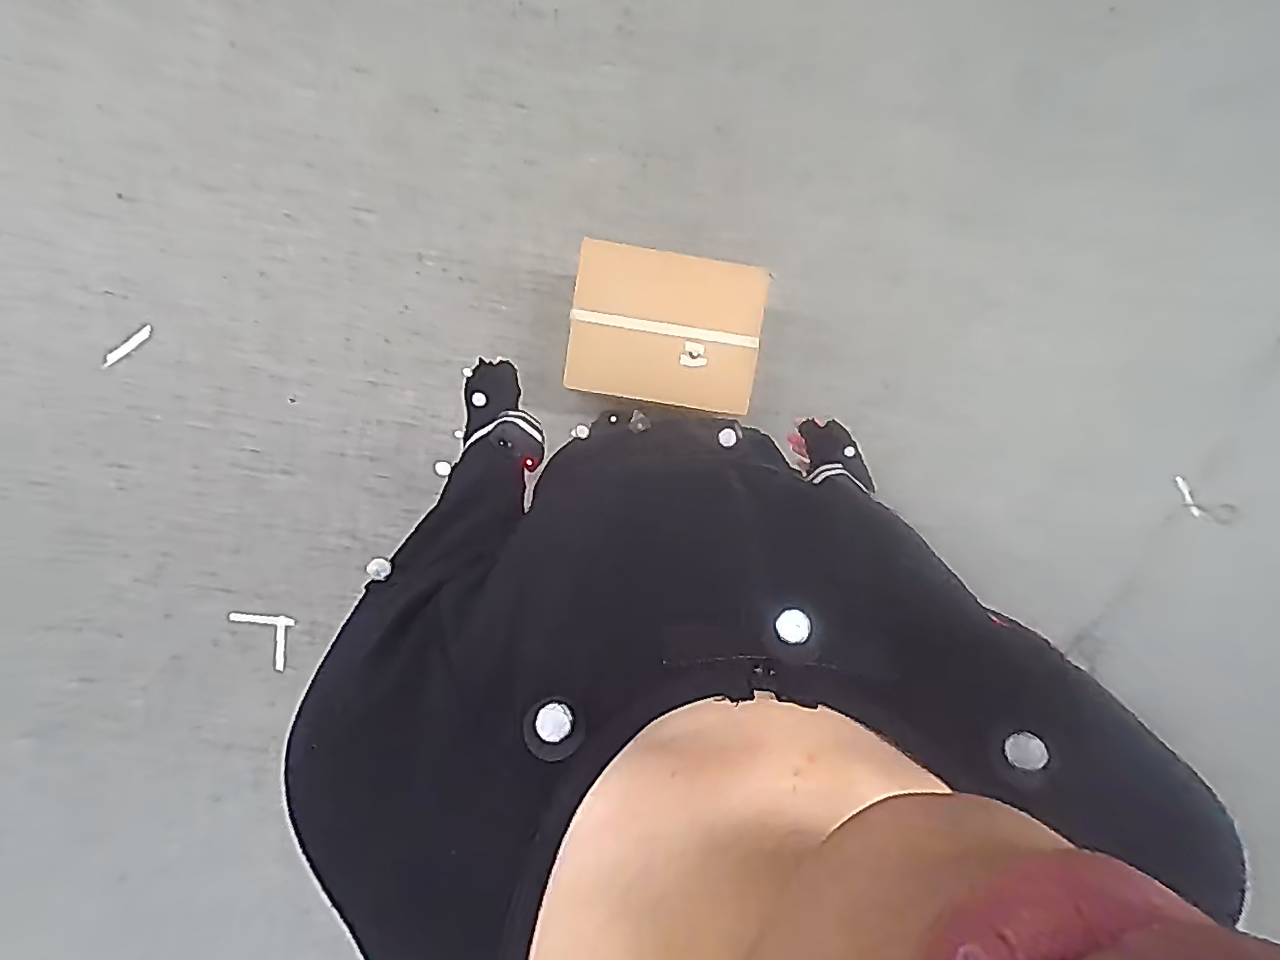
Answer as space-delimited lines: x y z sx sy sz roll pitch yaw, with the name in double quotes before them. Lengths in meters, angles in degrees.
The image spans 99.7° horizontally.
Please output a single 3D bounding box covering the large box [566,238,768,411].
"large box" 0.047 -0.345 1.294 0.408 0.320 0.320 8 97 -4
